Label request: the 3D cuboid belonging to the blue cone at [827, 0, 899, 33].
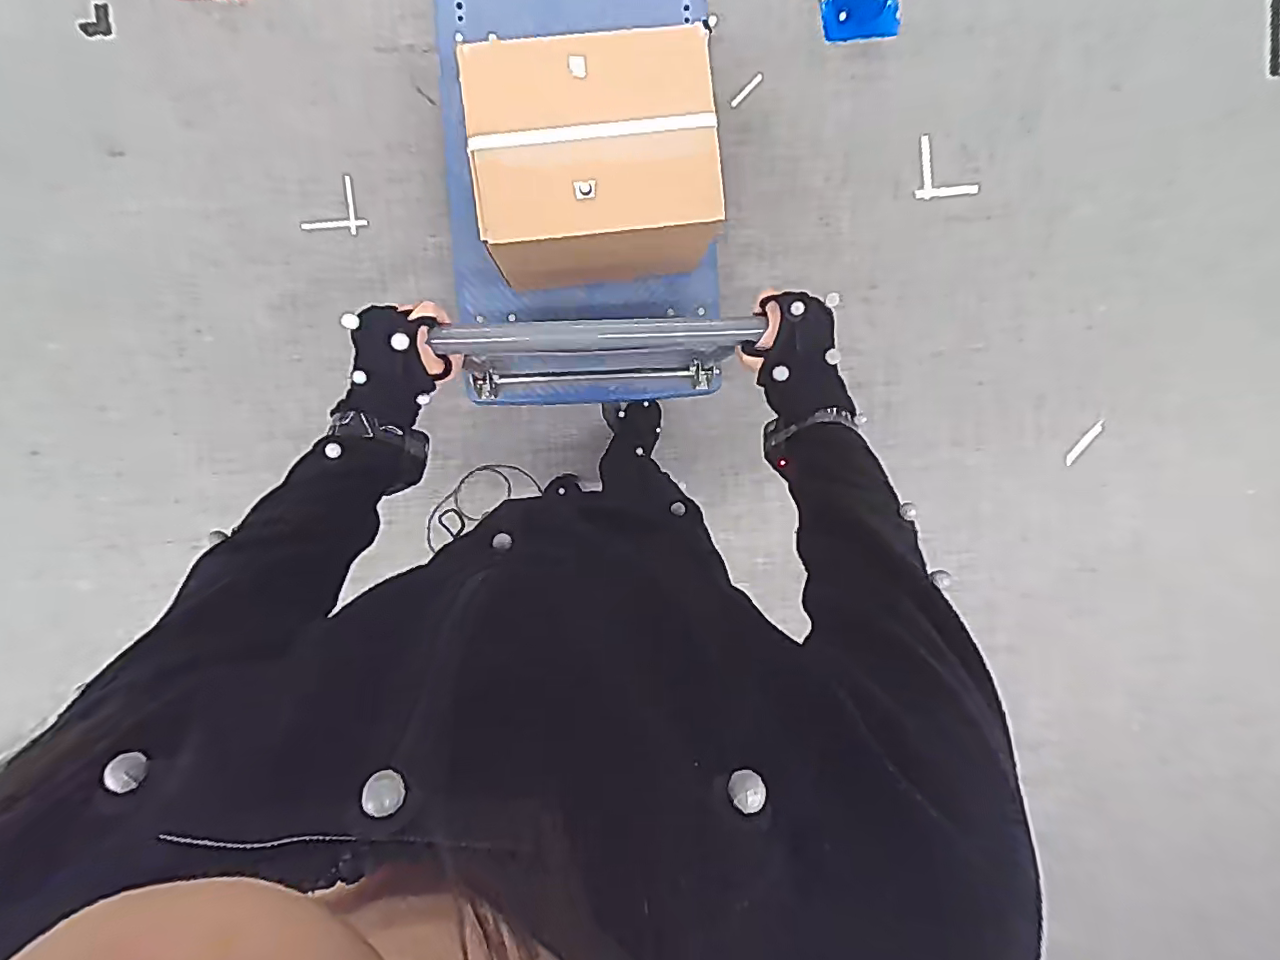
[{"bbox_3d":[0.566,-1.207,1.187,0.193,0.380,0.192,-8,95,-4],"label":"blue cone"}]
